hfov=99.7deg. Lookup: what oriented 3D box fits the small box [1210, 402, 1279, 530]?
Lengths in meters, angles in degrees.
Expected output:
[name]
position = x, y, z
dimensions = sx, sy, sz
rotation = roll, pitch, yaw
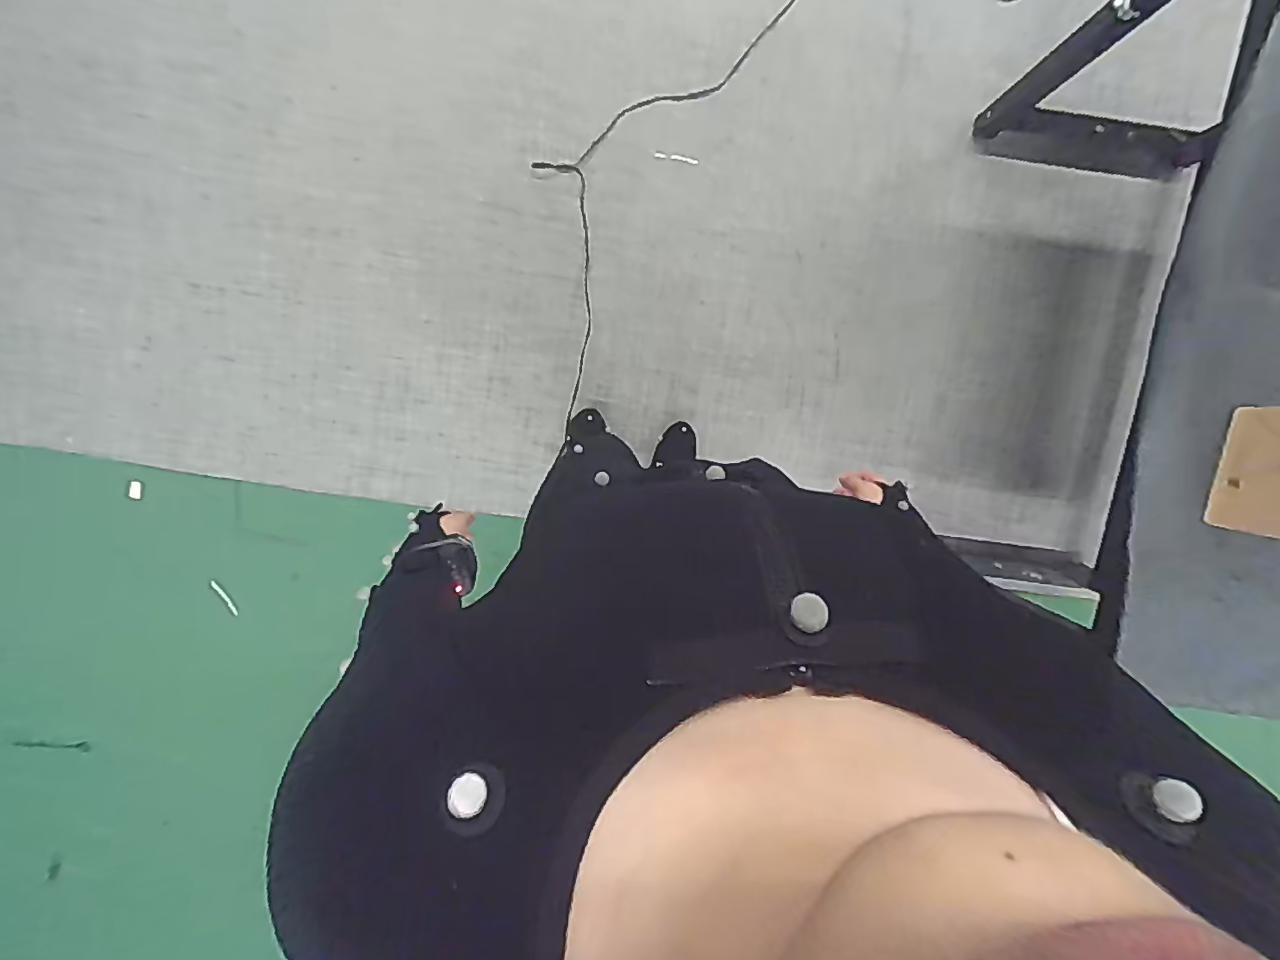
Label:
[small box]
position = 0.894, -0.007, 0.678
dimensions = 0.179, 0.176, 0.168
rotation = 8, 97, -3
